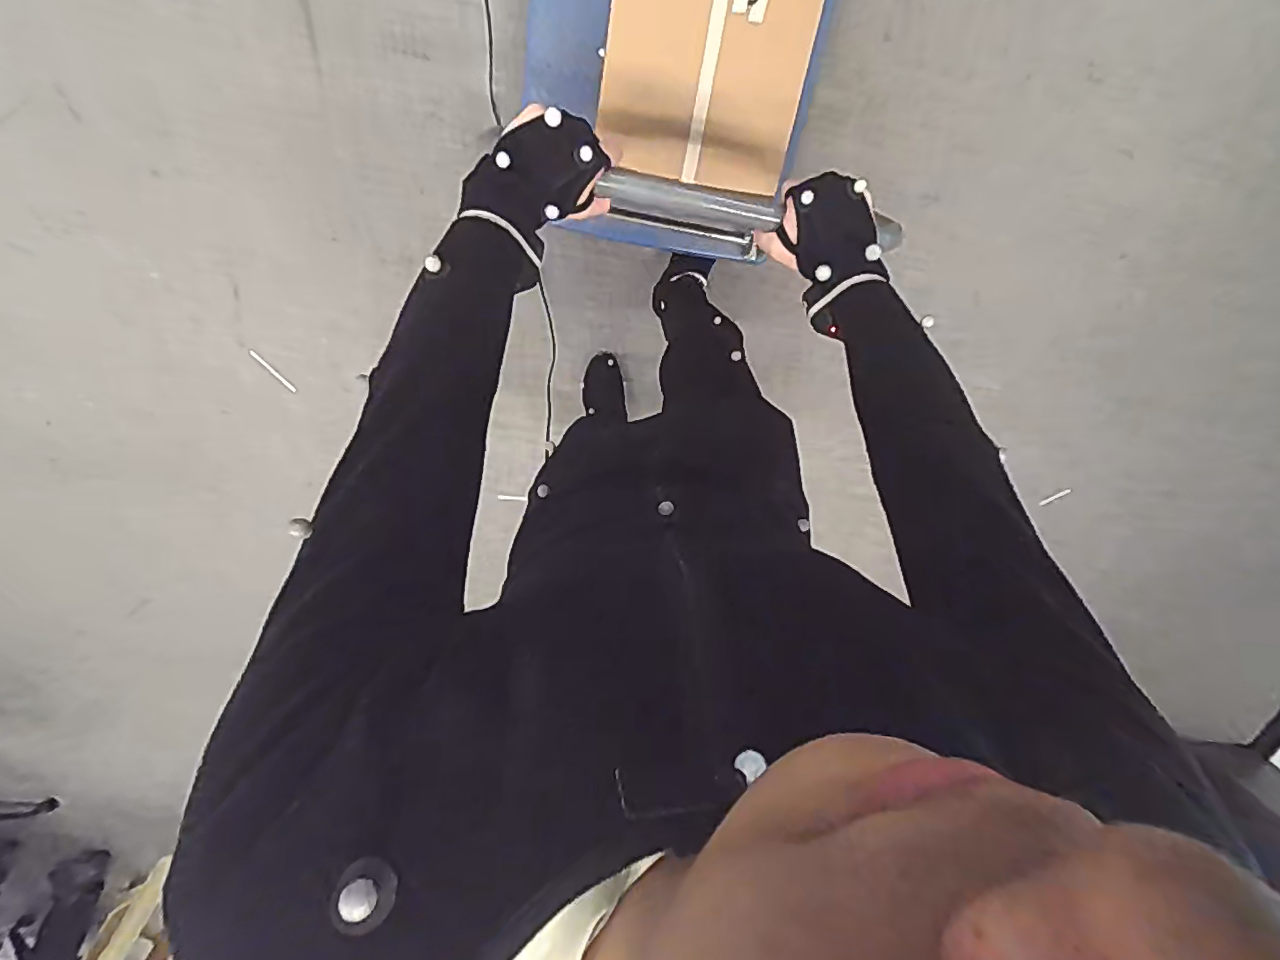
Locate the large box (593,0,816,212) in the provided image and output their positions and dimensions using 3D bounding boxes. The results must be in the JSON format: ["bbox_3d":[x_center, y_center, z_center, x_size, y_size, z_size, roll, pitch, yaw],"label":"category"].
[{"bbox_3d":[0.094,-0.726,0.966,0.320,0.320,0.408,7,113,-7],"label":"large box"}]
